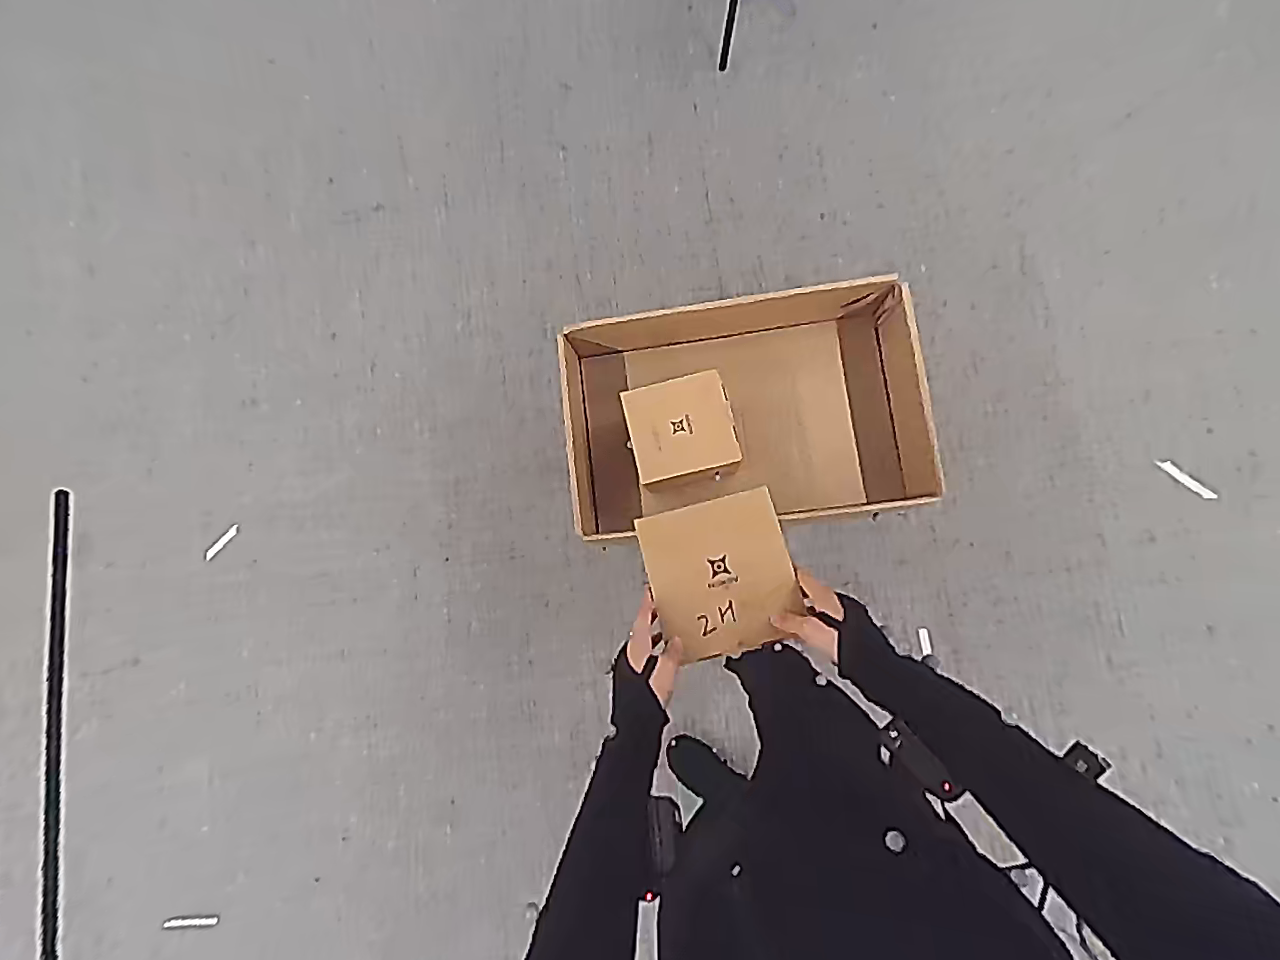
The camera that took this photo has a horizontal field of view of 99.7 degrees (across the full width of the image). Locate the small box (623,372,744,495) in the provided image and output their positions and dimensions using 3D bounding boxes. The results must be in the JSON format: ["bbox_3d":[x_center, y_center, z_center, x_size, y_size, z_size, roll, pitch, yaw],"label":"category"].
[{"bbox_3d":[0.077,-0.075,0.980,0.179,0.176,0.168,-14,81,4],"label":"small box"}]

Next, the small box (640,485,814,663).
[{"bbox_3d":[0.102,0.125,0.699,0.168,0.176,0.179,-15,76,2],"label":"small box"}]
